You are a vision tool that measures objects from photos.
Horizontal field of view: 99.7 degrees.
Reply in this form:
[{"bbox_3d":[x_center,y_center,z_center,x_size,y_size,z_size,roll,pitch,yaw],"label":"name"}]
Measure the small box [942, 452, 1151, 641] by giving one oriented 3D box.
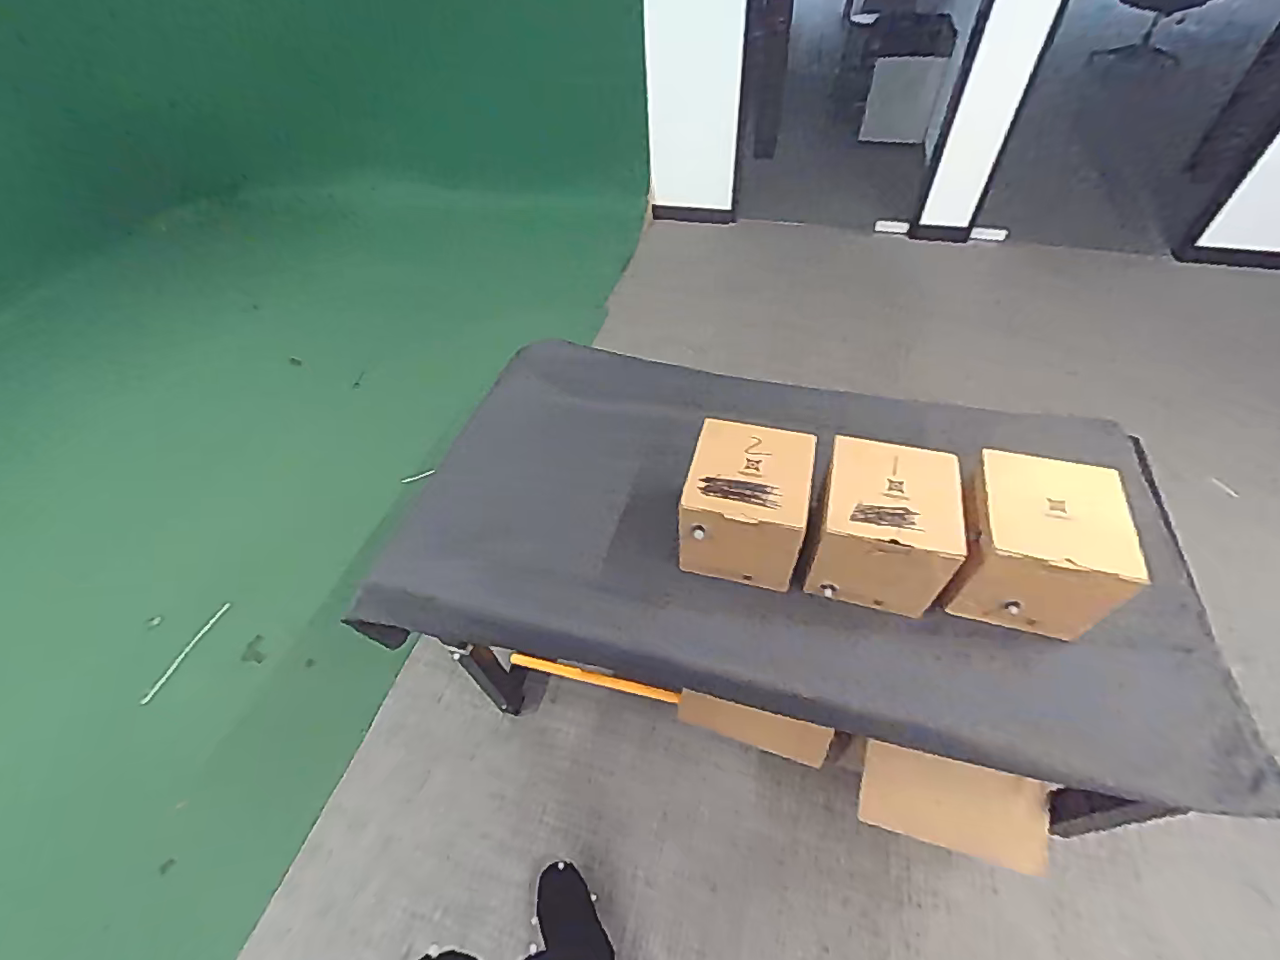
[{"bbox_3d":[0.535,0.092,0.746,0.168,0.176,0.179,11,53,13],"label":"small box"}]
